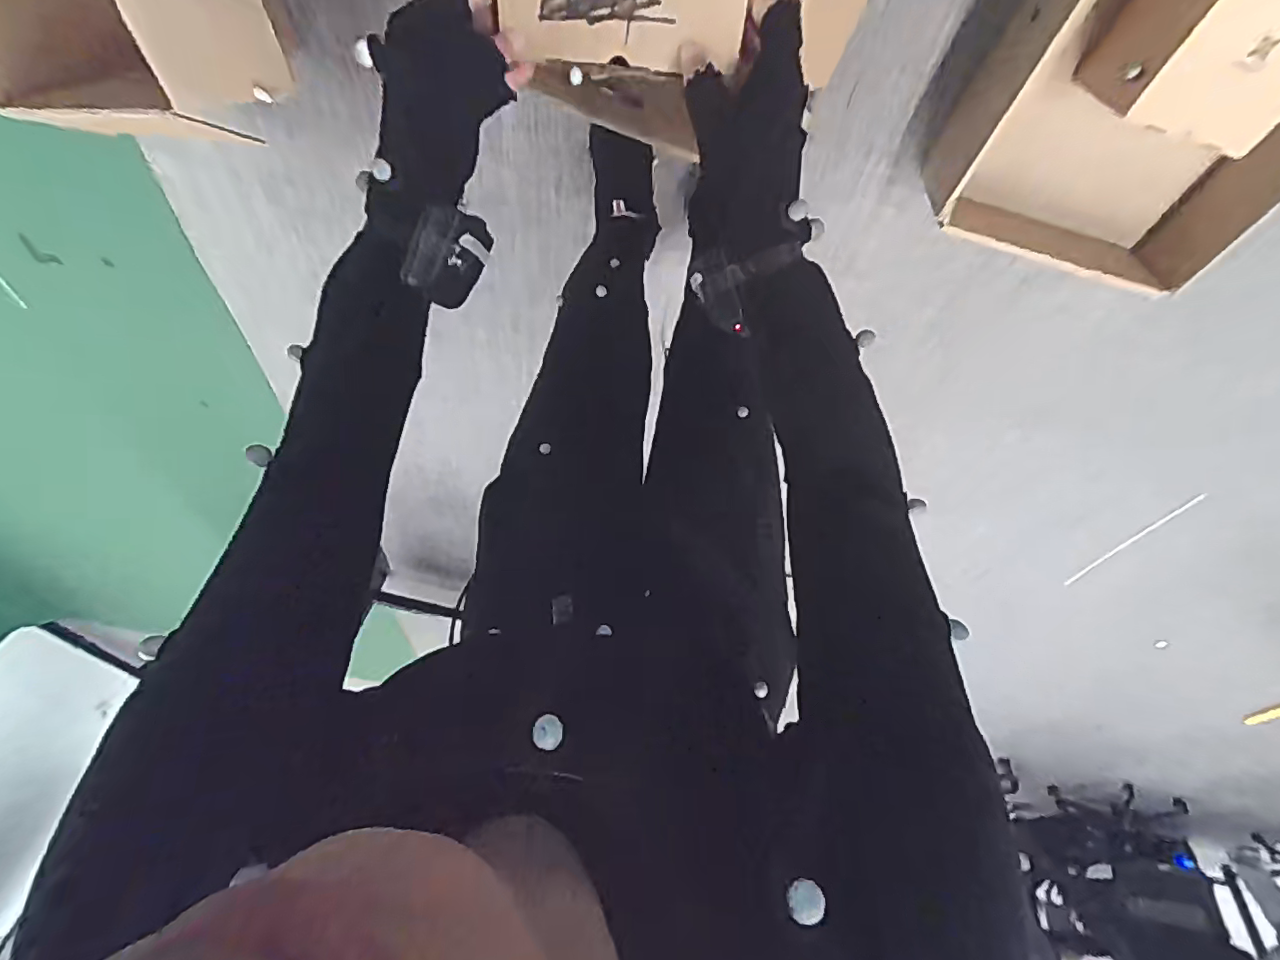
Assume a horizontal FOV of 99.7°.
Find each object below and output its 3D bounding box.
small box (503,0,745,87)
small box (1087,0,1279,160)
[{"bbox_3d":[0.000,-0.405,0.393,0.168,0.176,0.179,6,127,0],"label":"small box"},{"bbox_3d":[0.684,-0.517,0.630,0.168,0.176,0.179,14,141,-3],"label":"small box"}]
